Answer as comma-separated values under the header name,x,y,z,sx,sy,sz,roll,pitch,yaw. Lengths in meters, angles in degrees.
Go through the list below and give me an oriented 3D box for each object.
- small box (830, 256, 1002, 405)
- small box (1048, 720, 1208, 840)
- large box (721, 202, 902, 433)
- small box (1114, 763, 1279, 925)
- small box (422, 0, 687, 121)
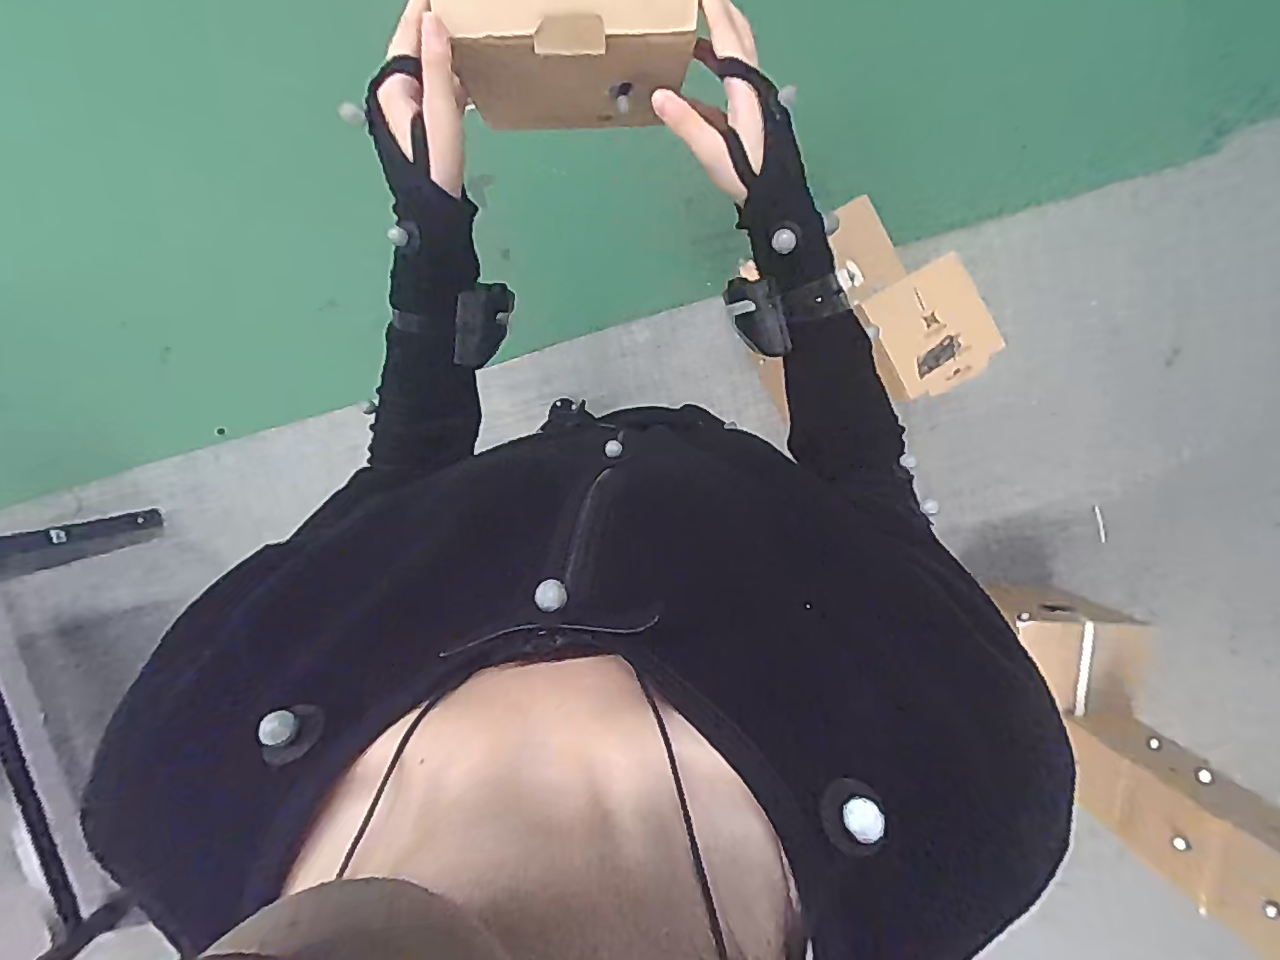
name,x,y,z,sx,sy,sz,roll,pitch,yaw
small box,0.454,-0.240,0.917,0.168,0.176,0.179,-29,93,4
small box,1.028,0.634,1.153,0.179,0.176,0.168,4,95,-1
large box,0.439,-0.360,1.318,0.320,0.320,0.408,-29,93,3
small box,1.028,0.658,0.992,0.168,0.176,0.179,5,95,-1
small box,-0.058,-0.379,0.387,0.168,0.176,0.179,-3,107,-4
